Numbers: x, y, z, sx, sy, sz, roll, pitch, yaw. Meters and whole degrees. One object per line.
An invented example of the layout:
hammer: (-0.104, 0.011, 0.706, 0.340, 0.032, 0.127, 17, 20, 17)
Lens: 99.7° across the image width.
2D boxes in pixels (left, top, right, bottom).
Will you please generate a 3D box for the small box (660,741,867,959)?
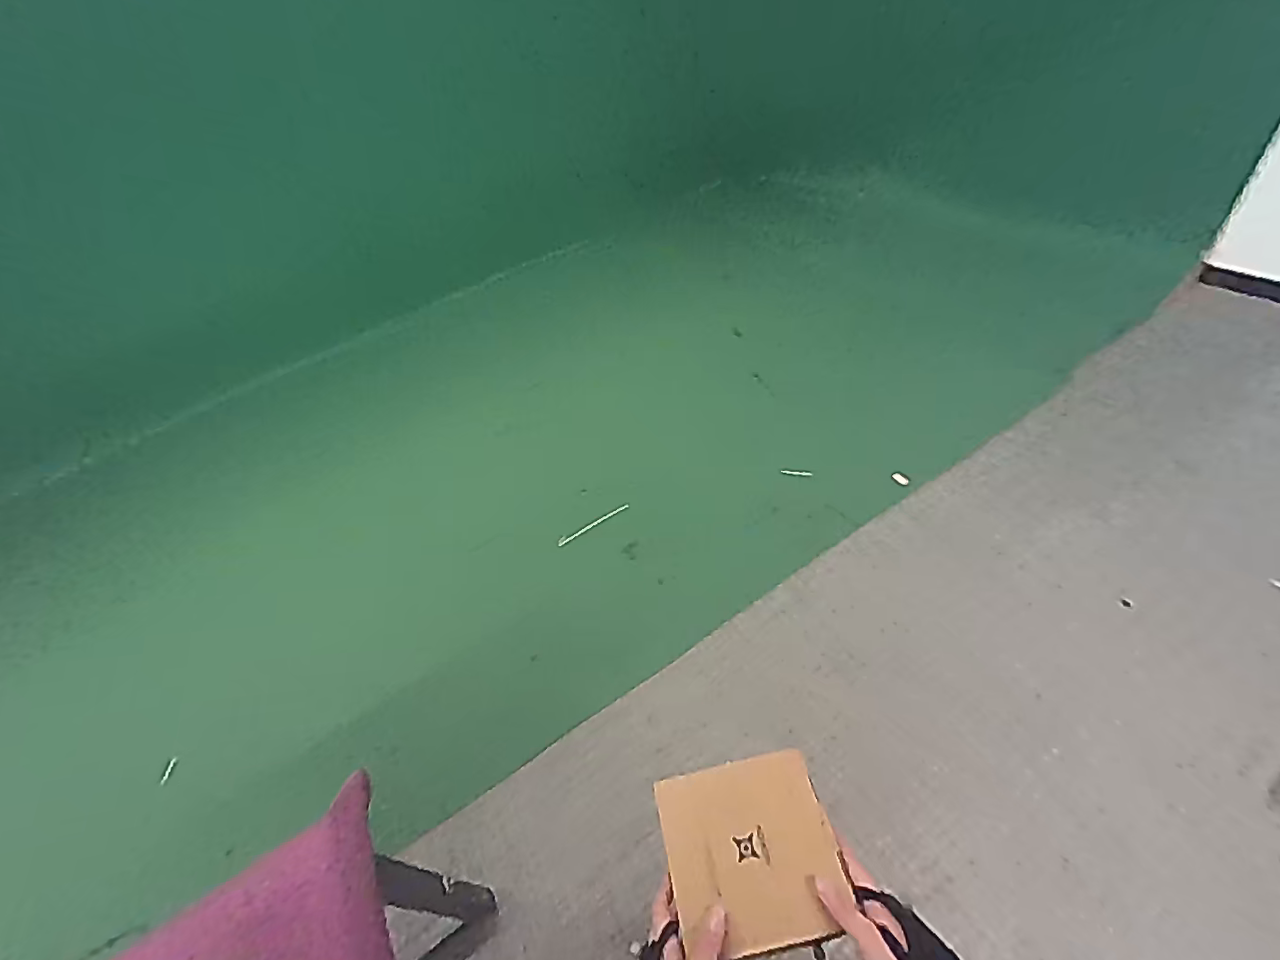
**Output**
small box: (0.129, 0.424, 0.618, 0.179, 0.176, 0.168, -13, 46, 0)
